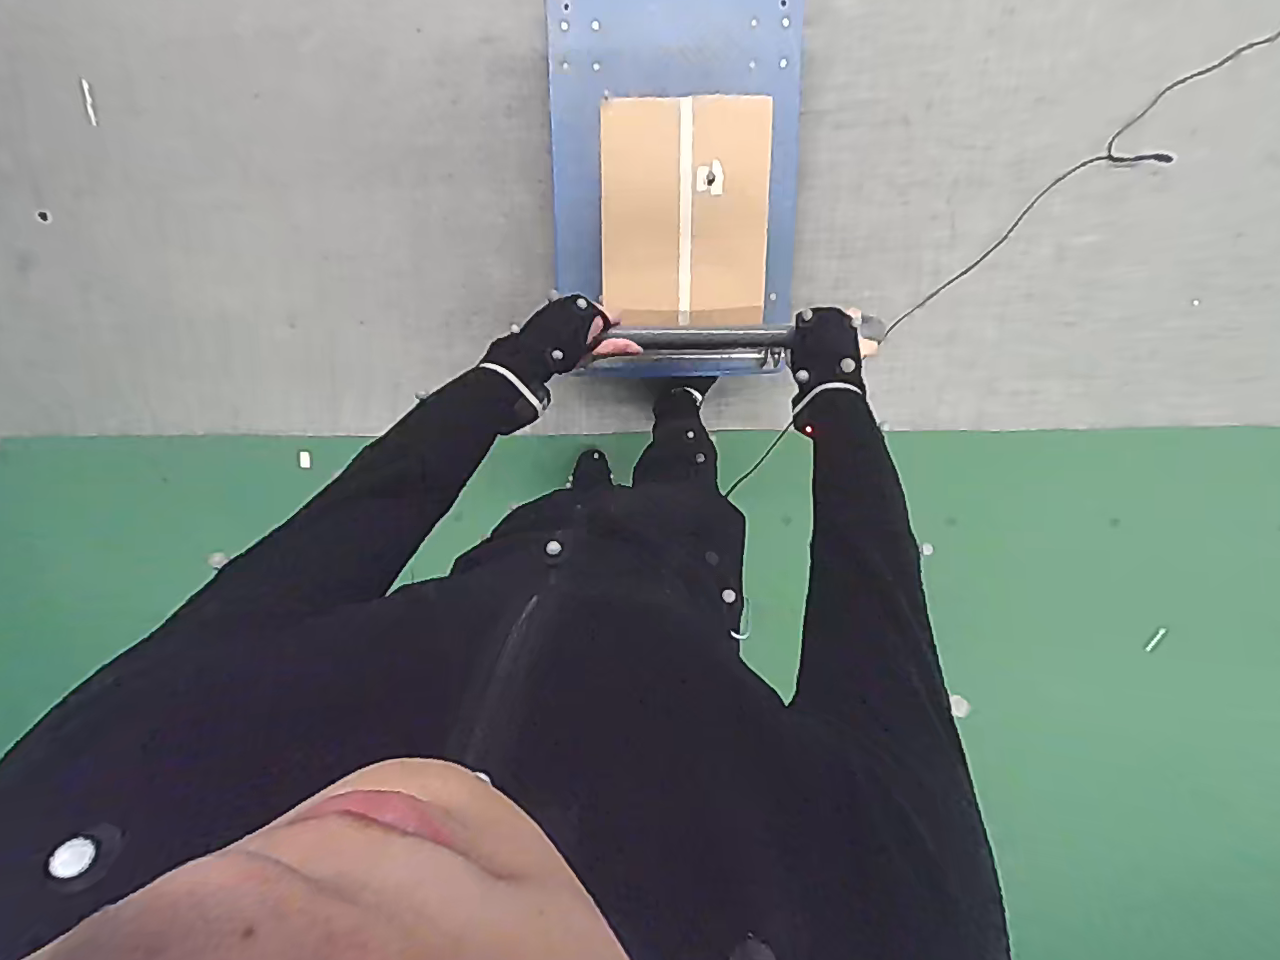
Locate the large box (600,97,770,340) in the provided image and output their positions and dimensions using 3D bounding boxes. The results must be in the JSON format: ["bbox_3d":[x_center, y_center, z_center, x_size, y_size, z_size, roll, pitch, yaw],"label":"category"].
[{"bbox_3d":[0.089,-0.518,1.156,0.320,0.320,0.408,0,101,1],"label":"large box"}]
